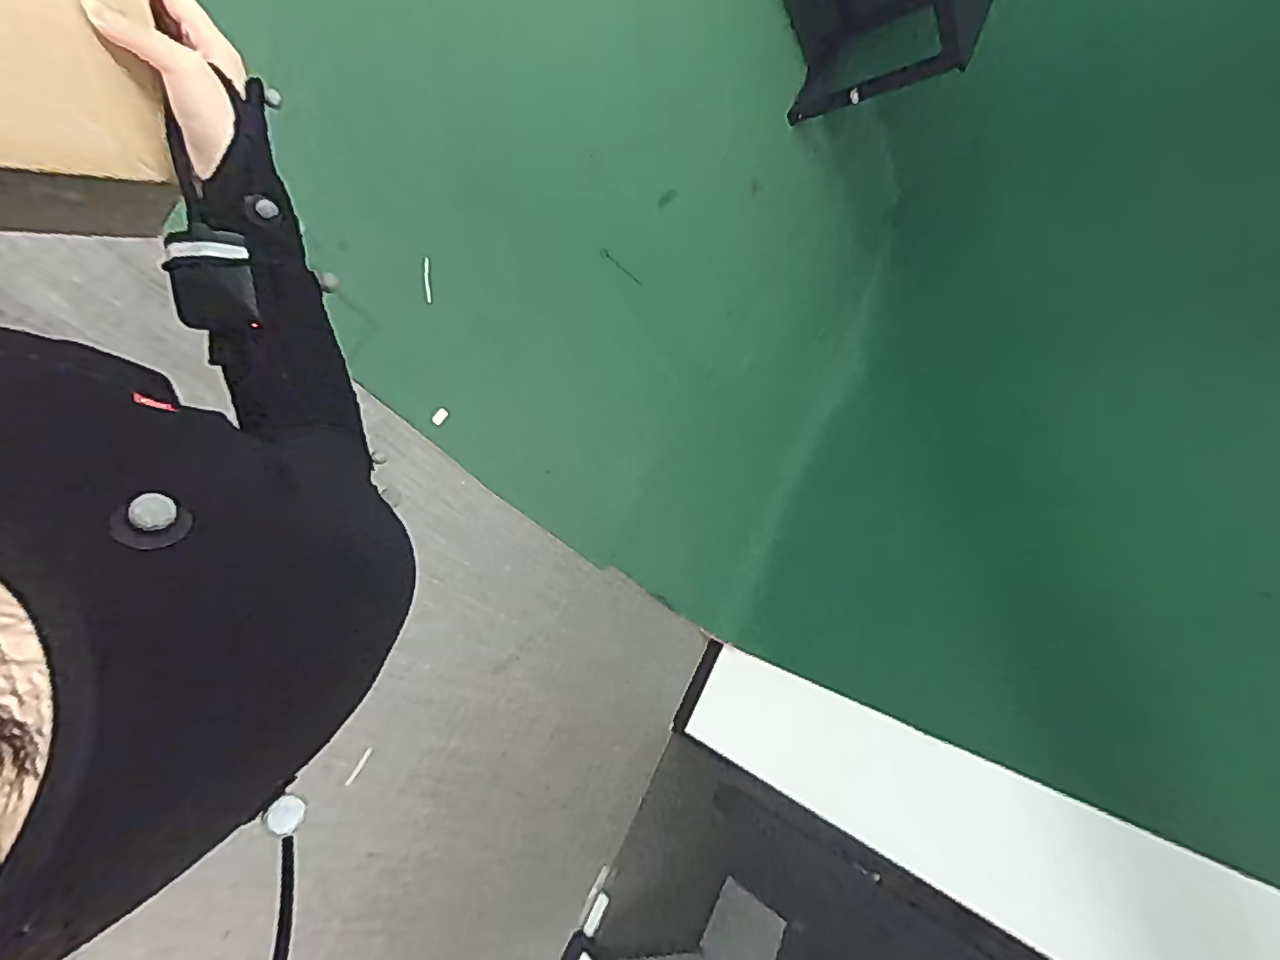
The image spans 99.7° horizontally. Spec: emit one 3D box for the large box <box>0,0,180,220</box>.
[{"bbox_3d":[-0.579,-0.350,0.308,0.408,0.320,0.320,-19,115,-43],"label":"large box"}]
